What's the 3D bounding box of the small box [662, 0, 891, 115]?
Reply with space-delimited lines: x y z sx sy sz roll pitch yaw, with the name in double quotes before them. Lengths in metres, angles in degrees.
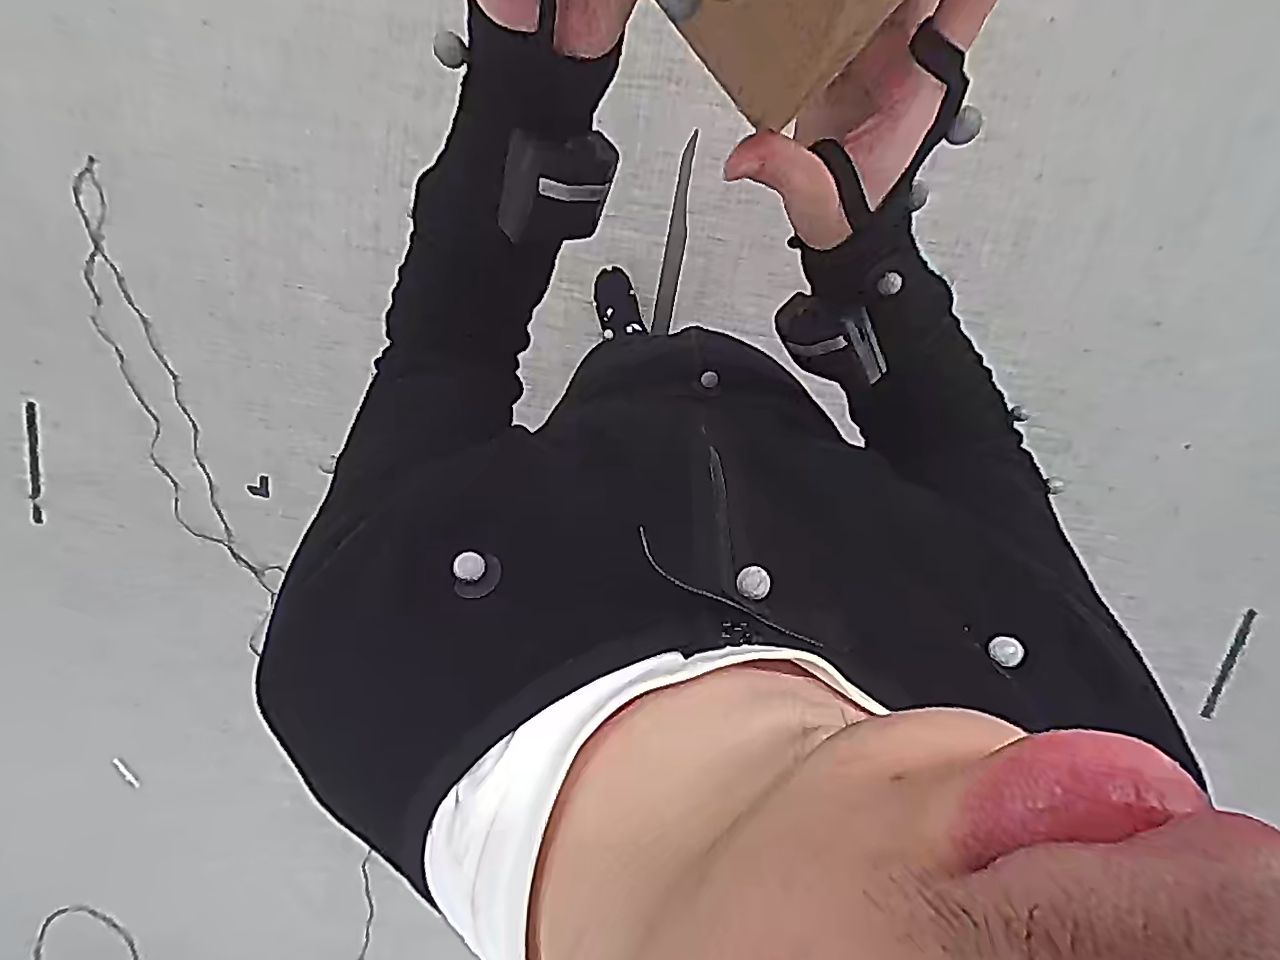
"small box" 0.054 -0.236 0.133 0.179 0.176 0.168 -42 106 18
